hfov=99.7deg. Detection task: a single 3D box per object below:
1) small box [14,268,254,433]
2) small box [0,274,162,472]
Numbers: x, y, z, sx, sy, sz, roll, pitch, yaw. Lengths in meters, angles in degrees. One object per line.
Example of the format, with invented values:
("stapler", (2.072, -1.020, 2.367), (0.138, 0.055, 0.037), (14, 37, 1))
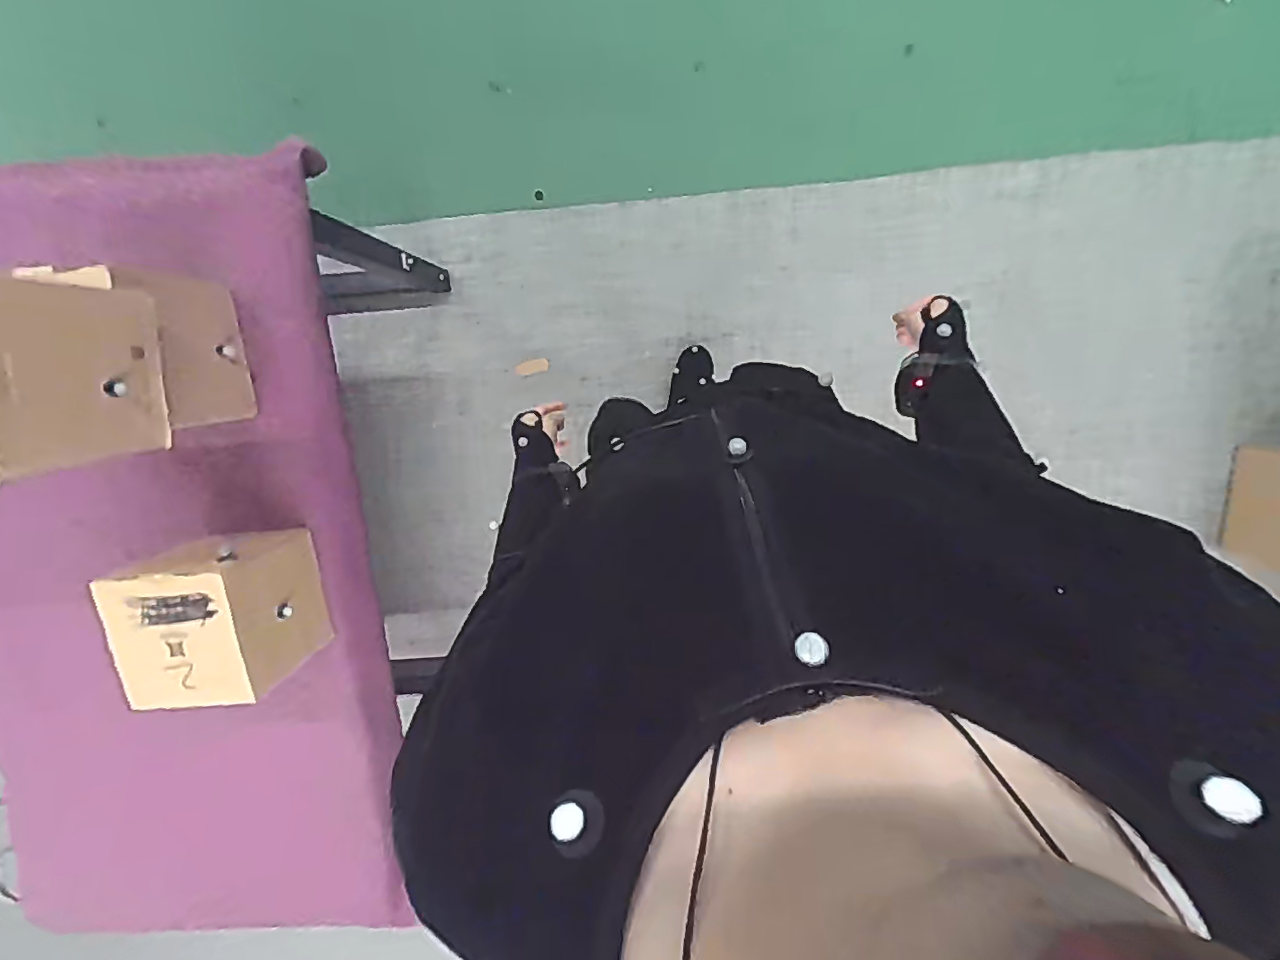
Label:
("small box", (-0.620, -0.145, 0.659), (0.168, 0.176, 0.179), (-4, 101, 4))
("small box", (-0.606, -0.101, 0.501), (0.179, 0.176, 0.168), (3, 102, 1))
